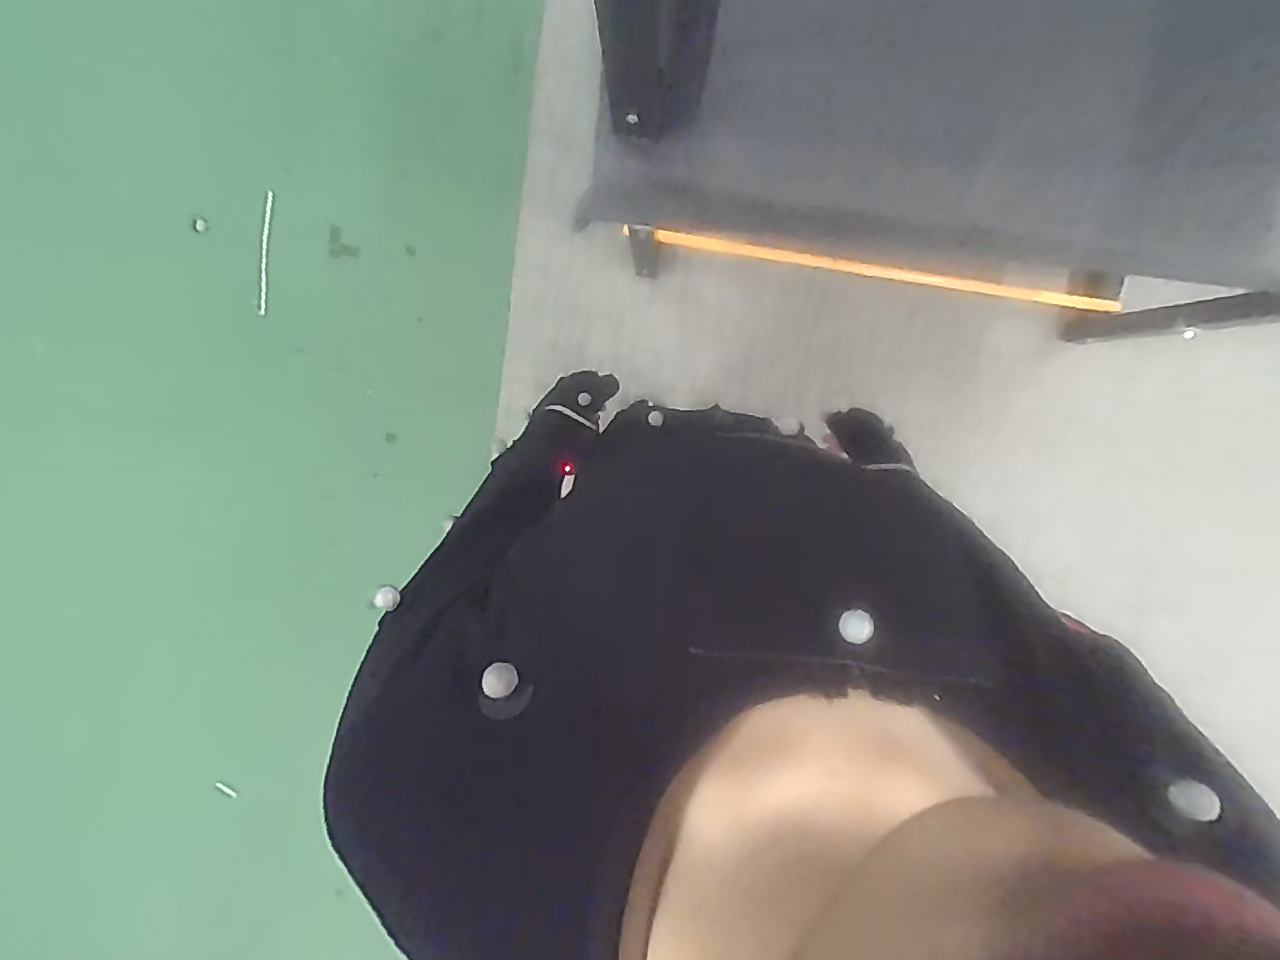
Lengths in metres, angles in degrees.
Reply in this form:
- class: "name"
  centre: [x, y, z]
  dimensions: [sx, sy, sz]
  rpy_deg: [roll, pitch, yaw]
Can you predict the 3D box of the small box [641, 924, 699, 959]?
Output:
- class: "small box"
  centre: [0.088, 1.499, 1.638]
  dimensions: [0.168, 0.176, 0.179]
  rpy_deg: [6, 99, 1]
